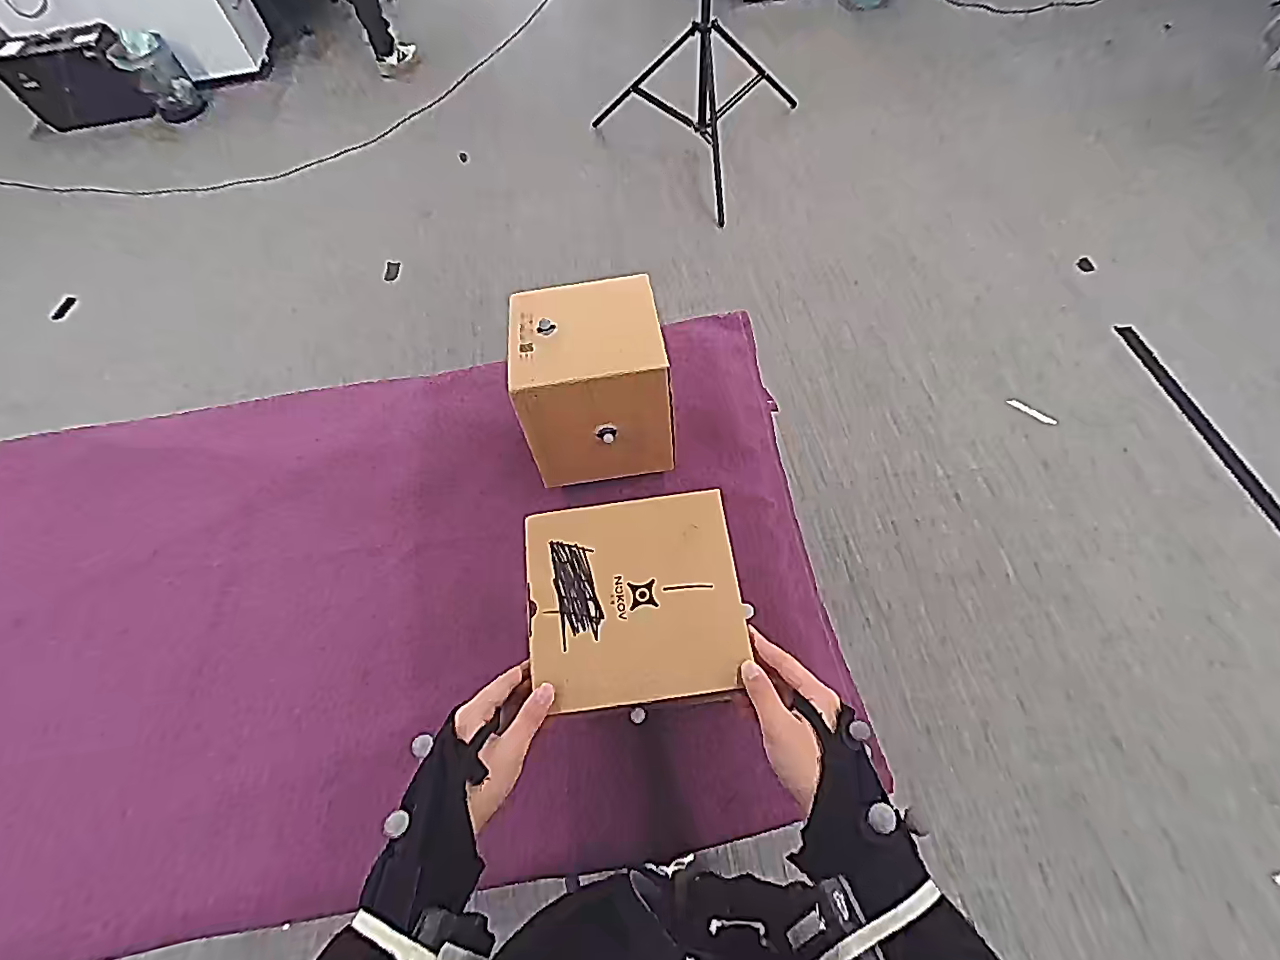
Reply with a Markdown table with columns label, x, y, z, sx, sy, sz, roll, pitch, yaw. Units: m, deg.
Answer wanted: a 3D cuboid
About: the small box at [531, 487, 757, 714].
| label | x | y | z | sx | sy | sz | roll | pitch | yaw |
| --- | --- | --- | --- | --- | --- | --- | --- | --- | --- |
| small box | 0.007 | 0.125 | 0.516 | 0.179 | 0.176 | 0.168 | -9 | 65 | 4 |
